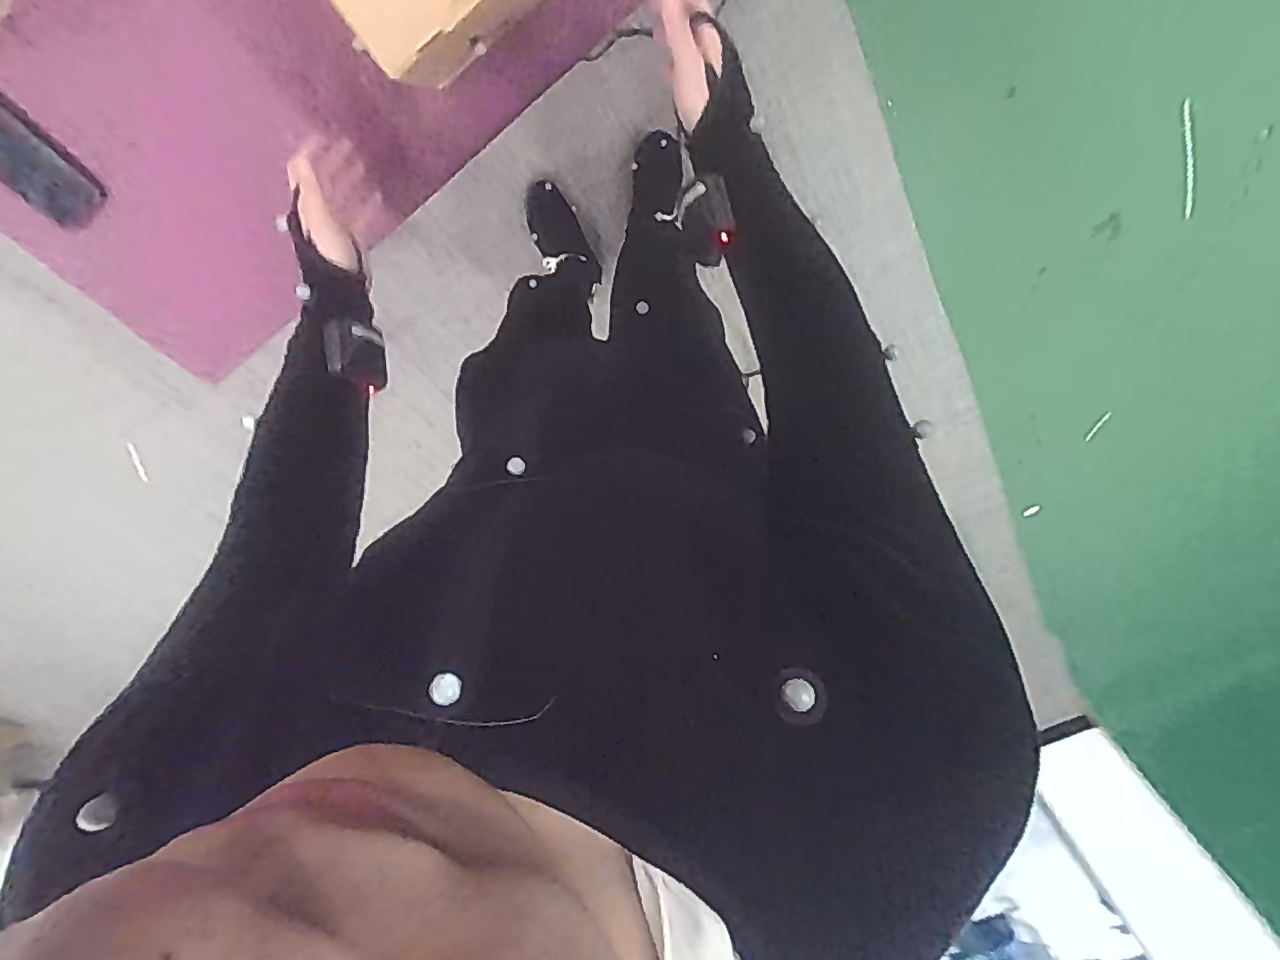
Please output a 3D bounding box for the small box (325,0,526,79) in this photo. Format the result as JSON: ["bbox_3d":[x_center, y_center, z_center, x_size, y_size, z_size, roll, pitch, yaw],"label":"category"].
[{"bbox_3d":[-0.203,-0.481,0.458,0.168,0.176,0.179,-31,122,15],"label":"small box"}]
